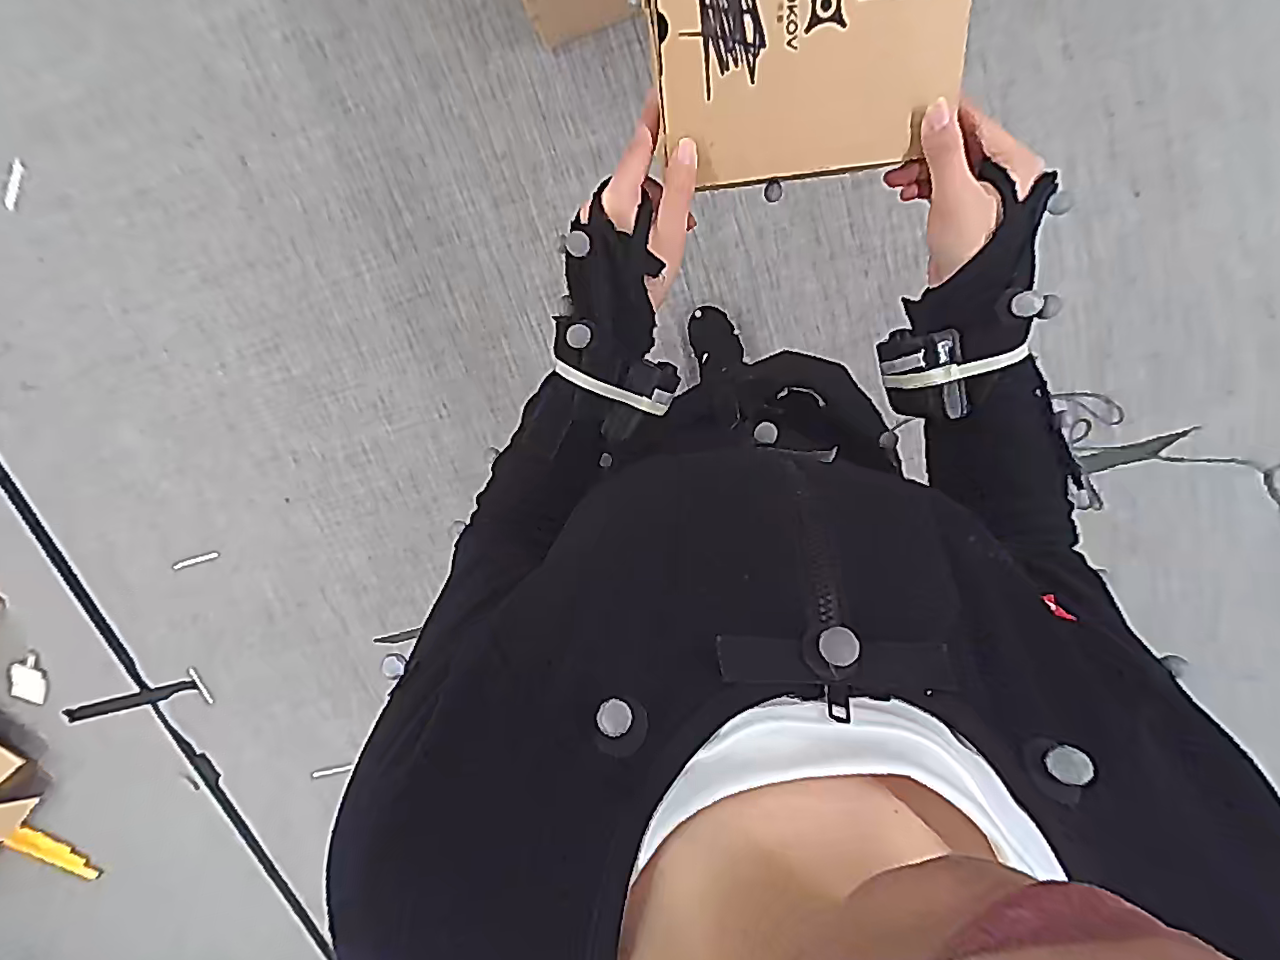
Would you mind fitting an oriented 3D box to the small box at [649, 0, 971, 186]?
[{"bbox_3d":[0.095,-0.303,0.366,0.179,0.176,0.168,-5,117,4],"label":"small box"}]
